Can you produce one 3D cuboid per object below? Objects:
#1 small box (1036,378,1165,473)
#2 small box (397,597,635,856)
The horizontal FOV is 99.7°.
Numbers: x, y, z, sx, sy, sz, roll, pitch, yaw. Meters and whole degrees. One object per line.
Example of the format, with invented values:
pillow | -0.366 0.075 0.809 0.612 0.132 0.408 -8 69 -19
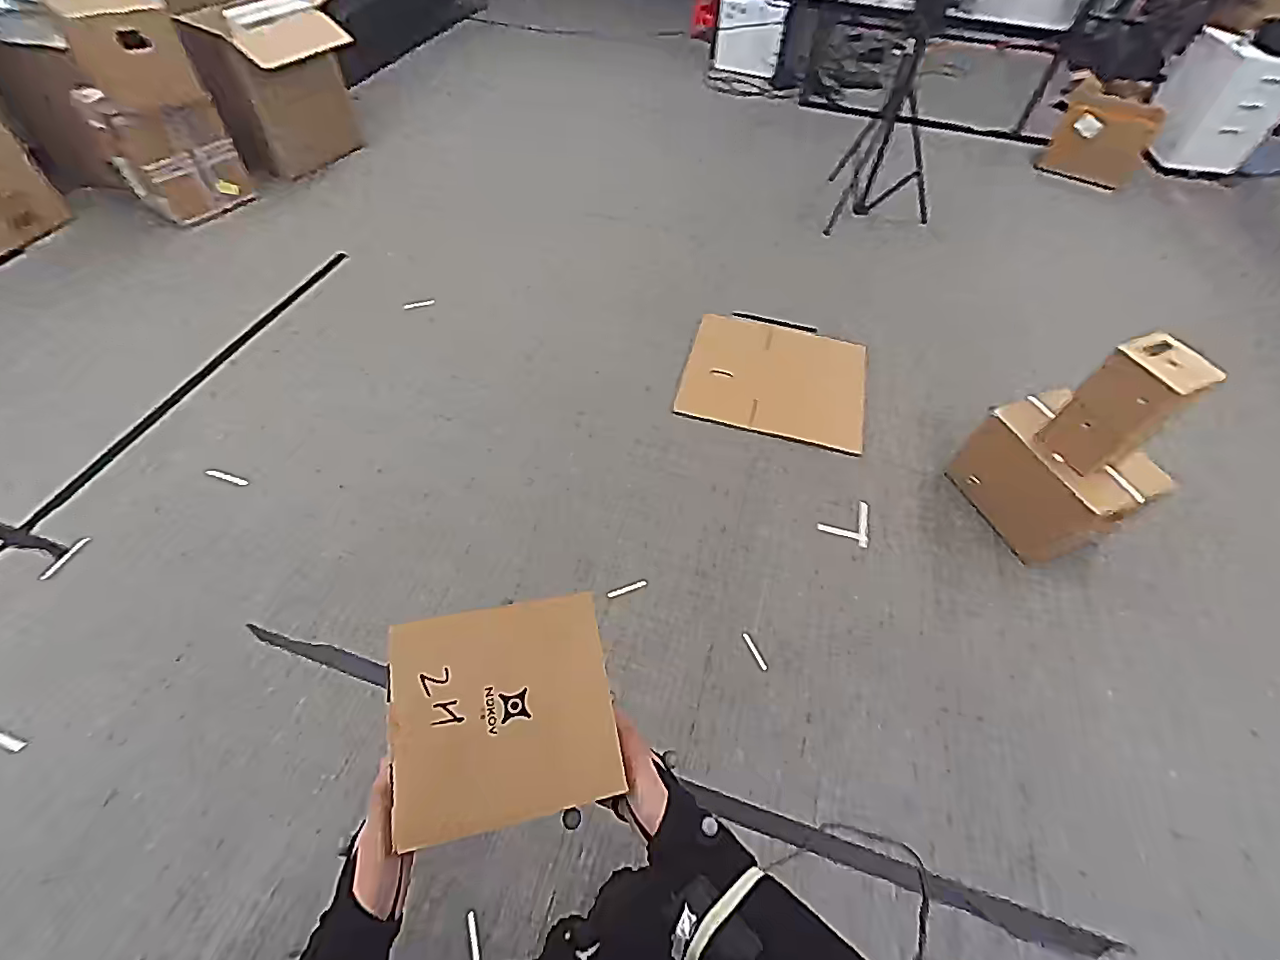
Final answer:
small box | 1.268 -0.149 1.504 0.168 0.176 0.179 -19 58 -14
small box | -0.116 0.222 0.506 0.179 0.176 0.168 -7 64 -14
